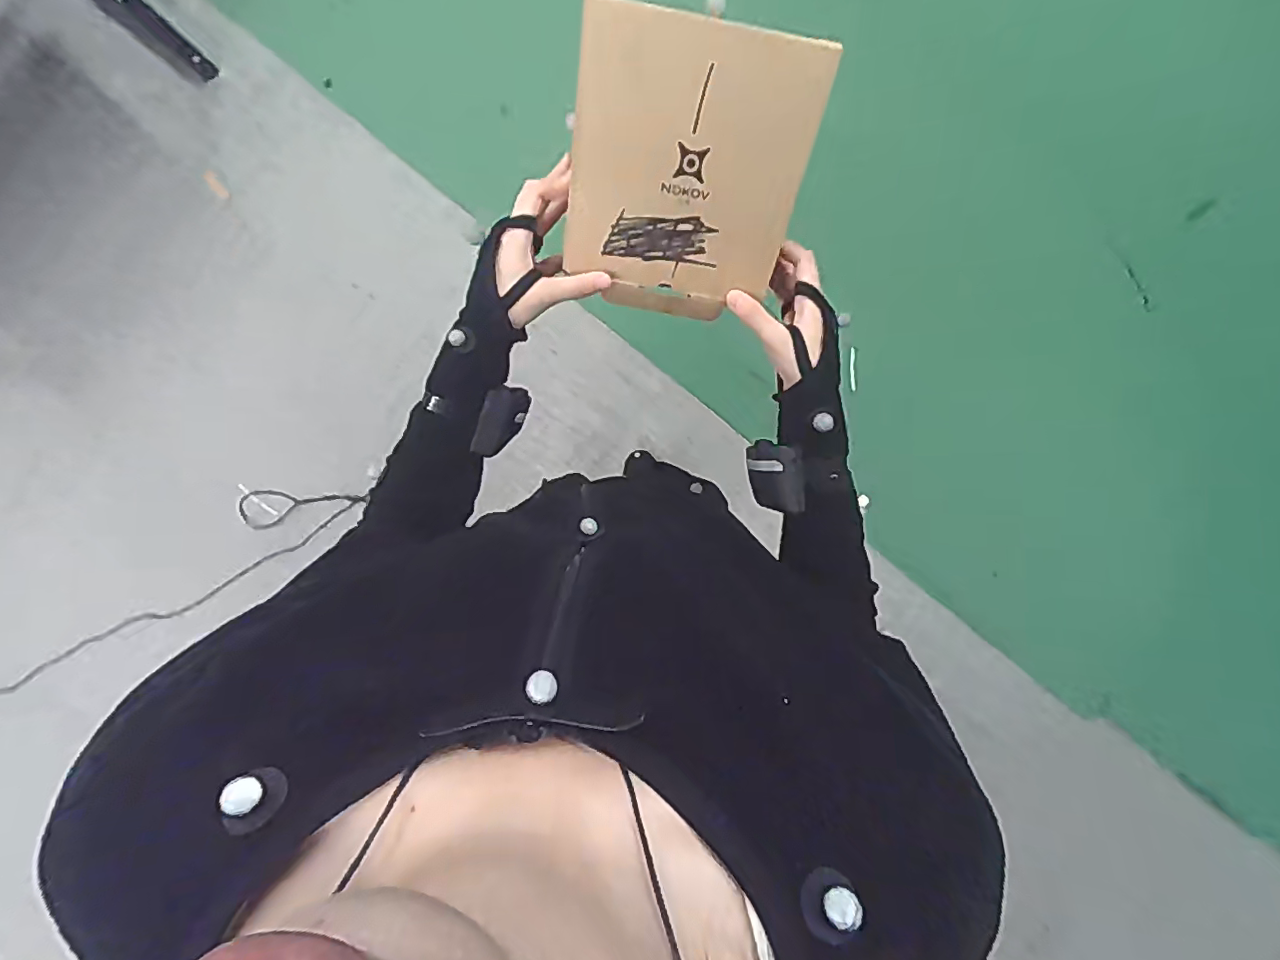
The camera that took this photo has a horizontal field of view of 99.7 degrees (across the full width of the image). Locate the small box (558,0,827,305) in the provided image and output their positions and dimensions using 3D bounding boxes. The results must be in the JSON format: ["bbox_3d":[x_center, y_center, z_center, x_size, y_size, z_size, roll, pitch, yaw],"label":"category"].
[{"bbox_3d":[0.030,-0.275,0.454,0.168,0.176,0.179,8,129,-5],"label":"small box"}]

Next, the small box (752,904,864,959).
[{"bbox_3d":[0.289,0.867,0.885,0.168,0.176,0.179,34,90,0],"label":"small box"}]

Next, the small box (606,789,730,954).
[{"bbox_3d":[0.049,0.739,1.046,0.179,0.176,0.168,25,92,-1],"label":"small box"}]
